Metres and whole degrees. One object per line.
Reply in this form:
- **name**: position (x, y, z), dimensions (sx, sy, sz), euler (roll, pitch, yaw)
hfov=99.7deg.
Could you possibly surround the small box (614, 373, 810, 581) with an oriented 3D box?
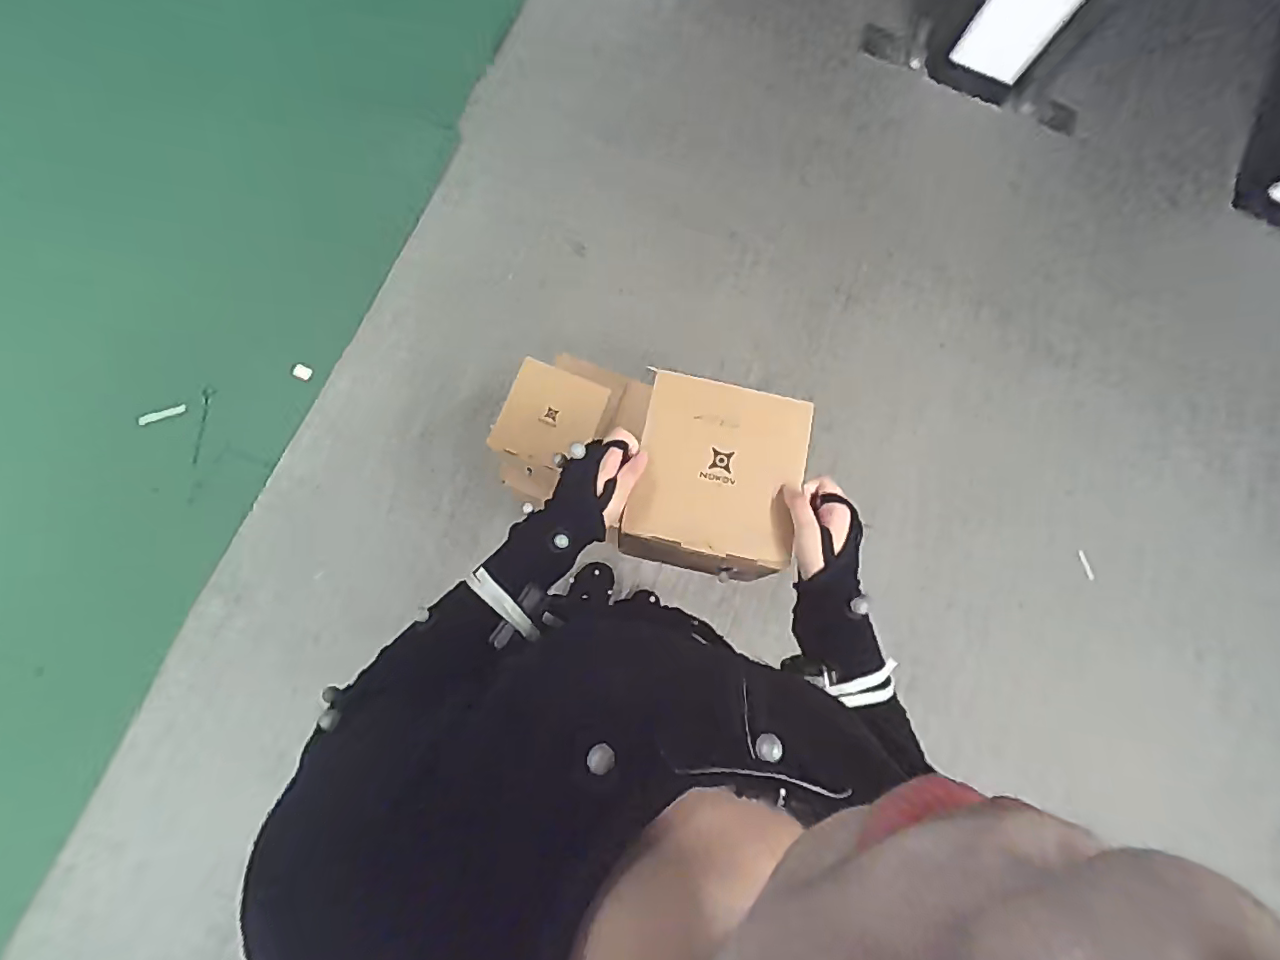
- **small box**: position (0.072, 0.009, 0.606), dimensions (0.168, 0.176, 0.179), euler (13, 75, 1)

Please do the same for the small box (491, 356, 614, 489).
- **small box**: position (-0.160, -0.099, 1.019), dimensions (0.168, 0.176, 0.179), euler (22, 81, -2)
